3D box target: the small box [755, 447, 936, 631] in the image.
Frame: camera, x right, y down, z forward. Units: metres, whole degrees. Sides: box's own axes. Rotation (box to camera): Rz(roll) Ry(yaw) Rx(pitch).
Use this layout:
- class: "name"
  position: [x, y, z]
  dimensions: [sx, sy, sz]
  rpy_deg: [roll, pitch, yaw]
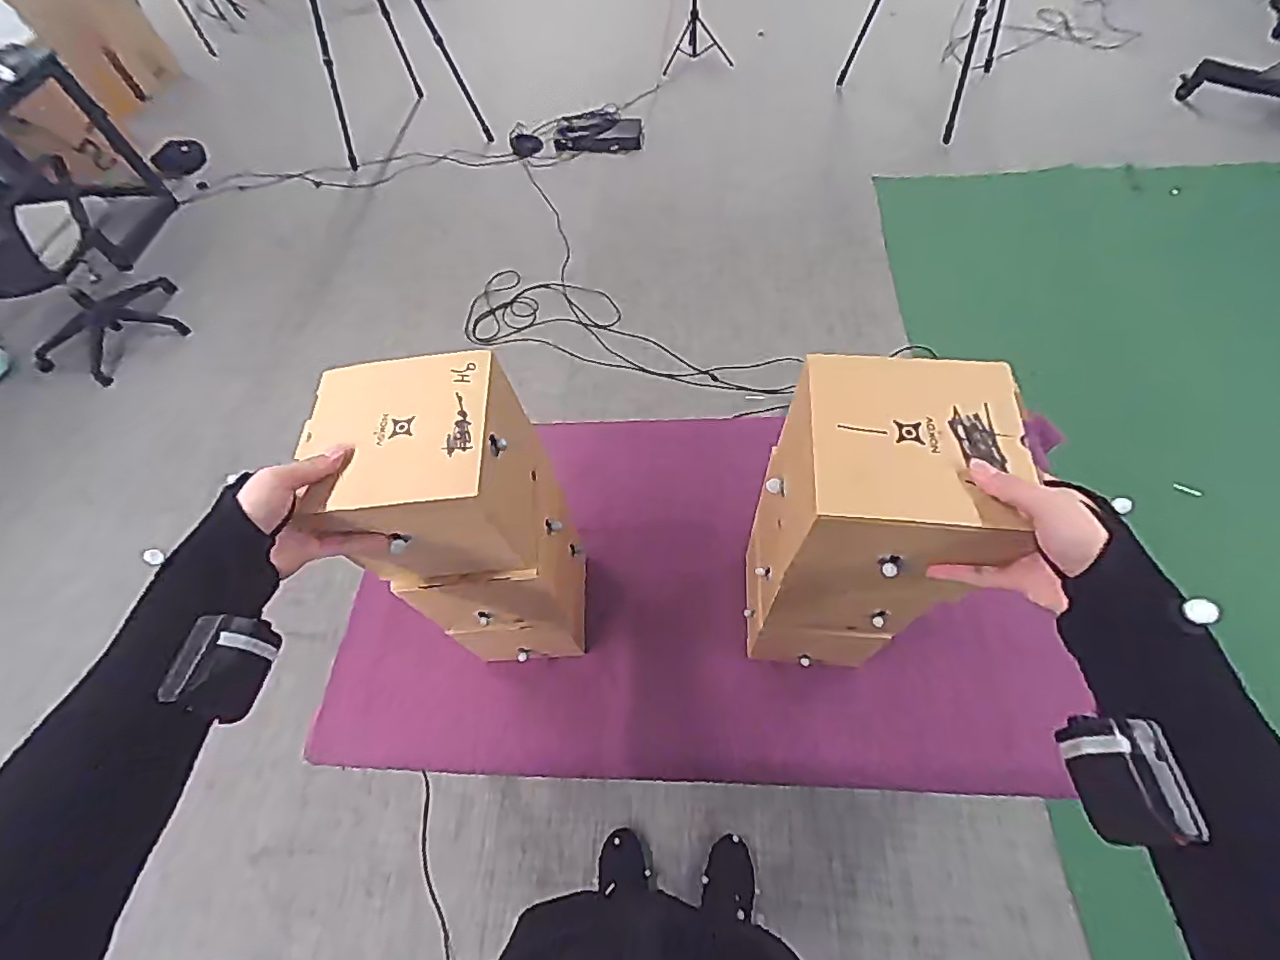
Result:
- class: "small box"
  position: [0.233, 0.077, 0.659]
  dimensions: [0.168, 0.176, 0.179]
  rpy_deg: [1, 59, 6]

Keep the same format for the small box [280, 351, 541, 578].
- class: "small box"
  position: [-0.217, -0.006, 0.564]
  dimensions: [0.179, 0.176, 0.168]
  rpy_deg: [-7, 59, 6]

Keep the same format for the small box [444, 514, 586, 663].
- class: "small box"
  position: [-0.181, 0.172, 0.839]
  dimensions: [0.168, 0.176, 0.179]
  rpy_deg: [-5, 58, 4]

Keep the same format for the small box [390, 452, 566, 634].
- class: "small box"
  position: [-0.193, 0.085, 0.703]
  dimensions: [0.168, 0.176, 0.179]
  rpy_deg: [-6, 59, 2]

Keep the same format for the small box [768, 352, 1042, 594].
- class: "small box"
  position: [0.223, 0.001, 0.512]
  dimensions: [0.179, 0.176, 0.168]
  rpy_deg: [4, 60, 6]
